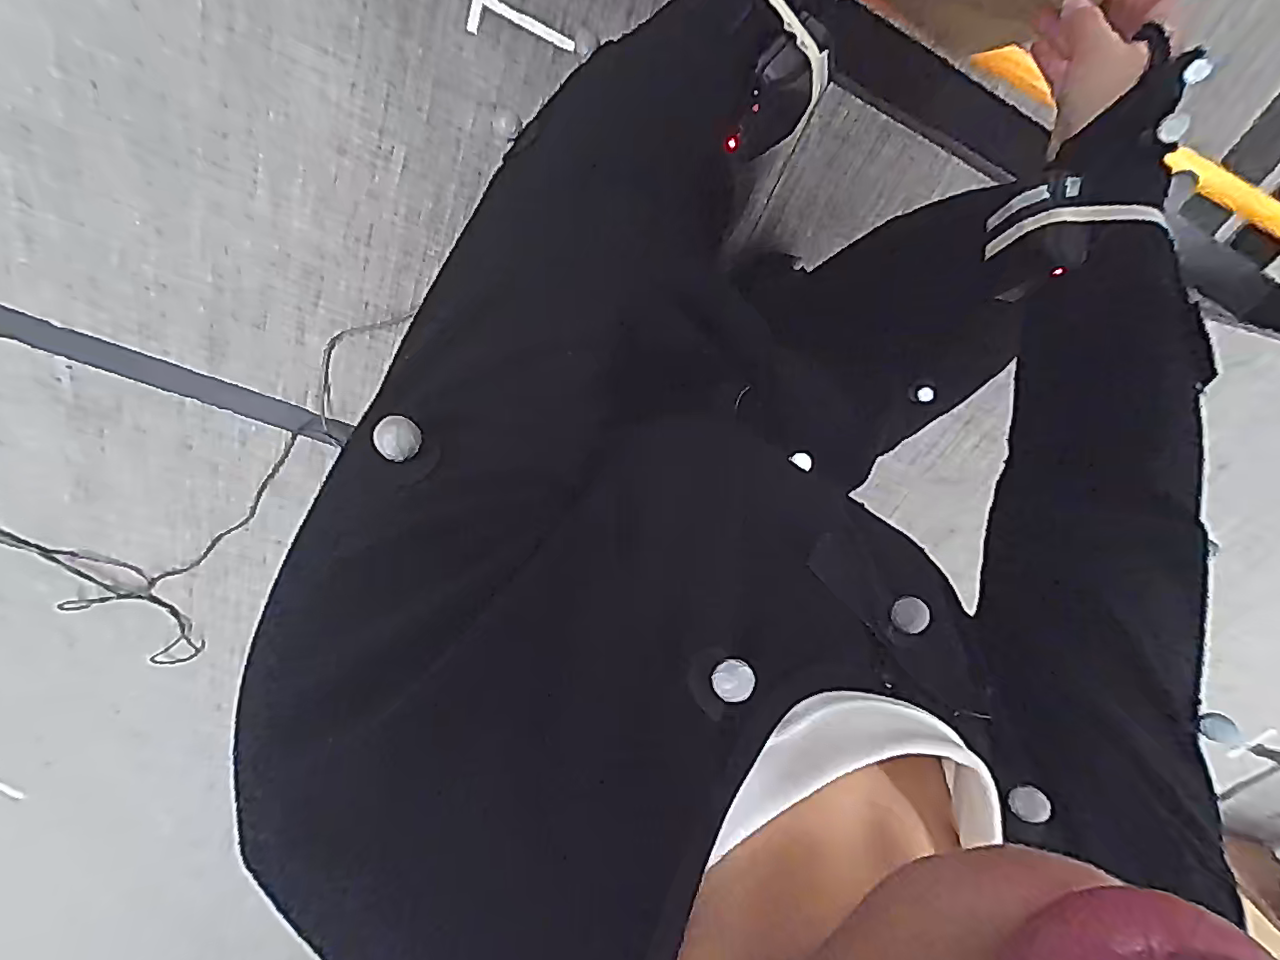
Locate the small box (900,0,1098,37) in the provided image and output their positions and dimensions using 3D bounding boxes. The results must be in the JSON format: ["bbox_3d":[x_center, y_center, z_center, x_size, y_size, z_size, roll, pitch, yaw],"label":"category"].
[{"bbox_3d":[0.259,-0.448,0.372,0.179,0.176,0.168,22,119,-16],"label":"small box"}]
